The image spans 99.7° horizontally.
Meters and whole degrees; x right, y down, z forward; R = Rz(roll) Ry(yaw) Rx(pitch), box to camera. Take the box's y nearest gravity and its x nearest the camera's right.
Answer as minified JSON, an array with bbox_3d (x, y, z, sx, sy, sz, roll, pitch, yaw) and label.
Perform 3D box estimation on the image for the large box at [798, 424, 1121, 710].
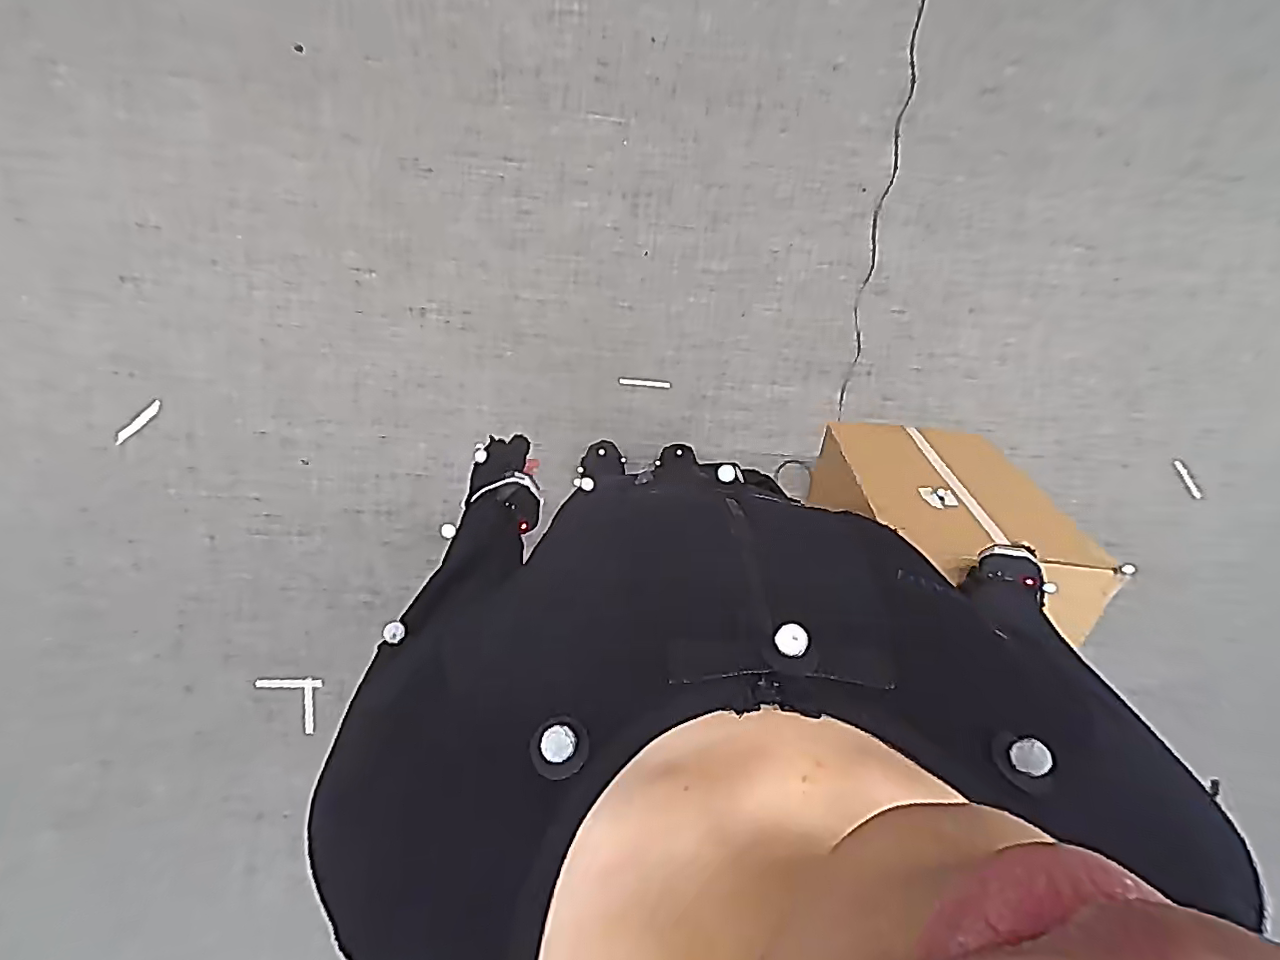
[{"bbox_3d":[0.505,0.136,0.981,0.320,0.408,0.320,5,123,2],"label":"large box"}]
